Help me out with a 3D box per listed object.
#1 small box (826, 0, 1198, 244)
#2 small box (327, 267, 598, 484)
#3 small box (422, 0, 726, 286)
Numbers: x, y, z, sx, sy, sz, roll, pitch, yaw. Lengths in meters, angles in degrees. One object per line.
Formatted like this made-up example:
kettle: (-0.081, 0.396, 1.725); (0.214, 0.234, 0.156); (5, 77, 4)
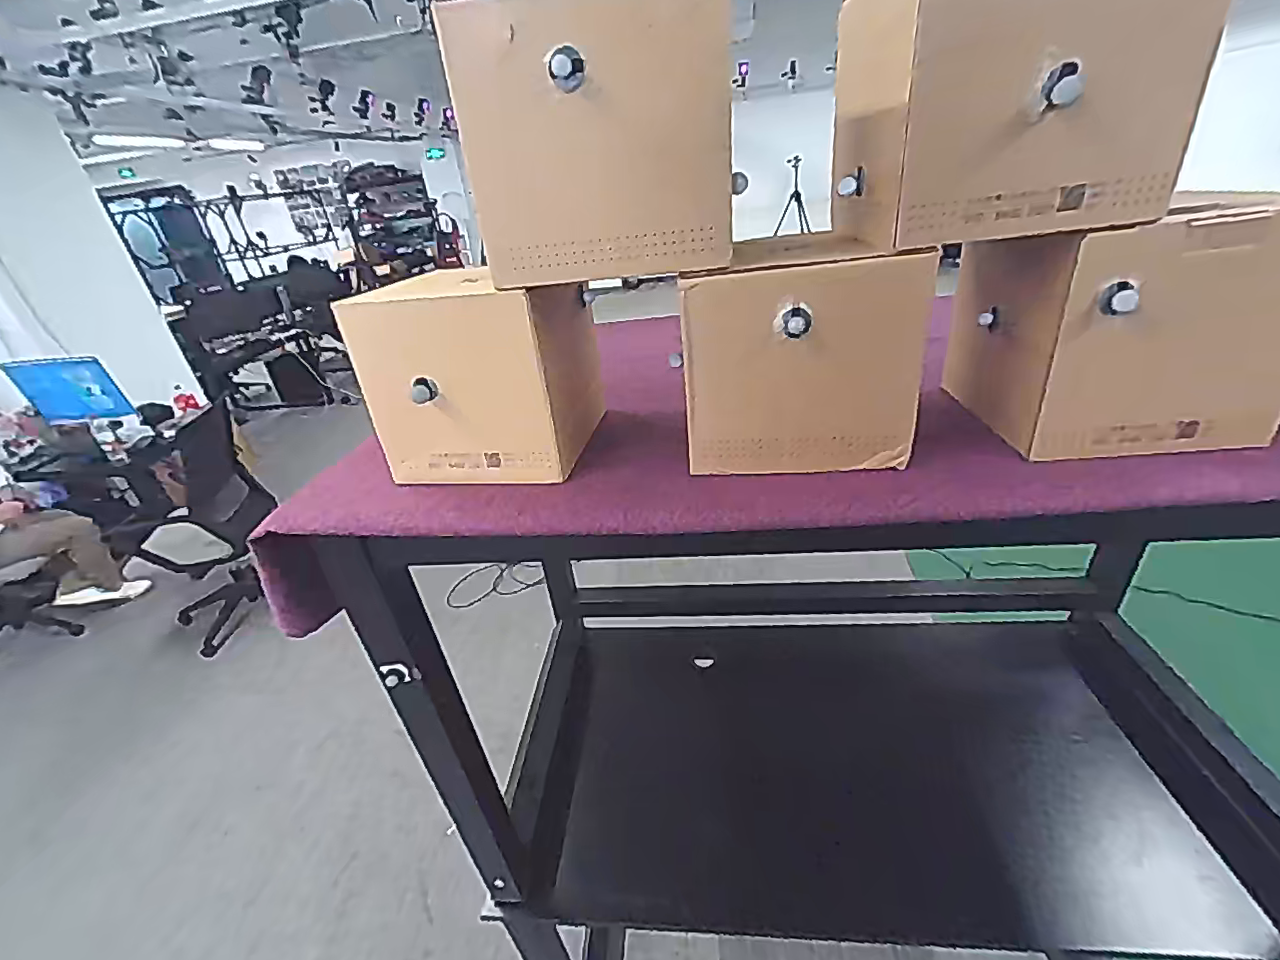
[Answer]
small box: (0.234, -0.269, 0.379); (0.168, 0.176, 0.179); (-5, 29, 6)
small box: (-0.145, -0.105, 0.518); (0.168, 0.176, 0.179); (-2, 28, 11)
small box: (-0.030, -0.252, 0.415); (0.179, 0.176, 0.168); (-3, 29, 7)
